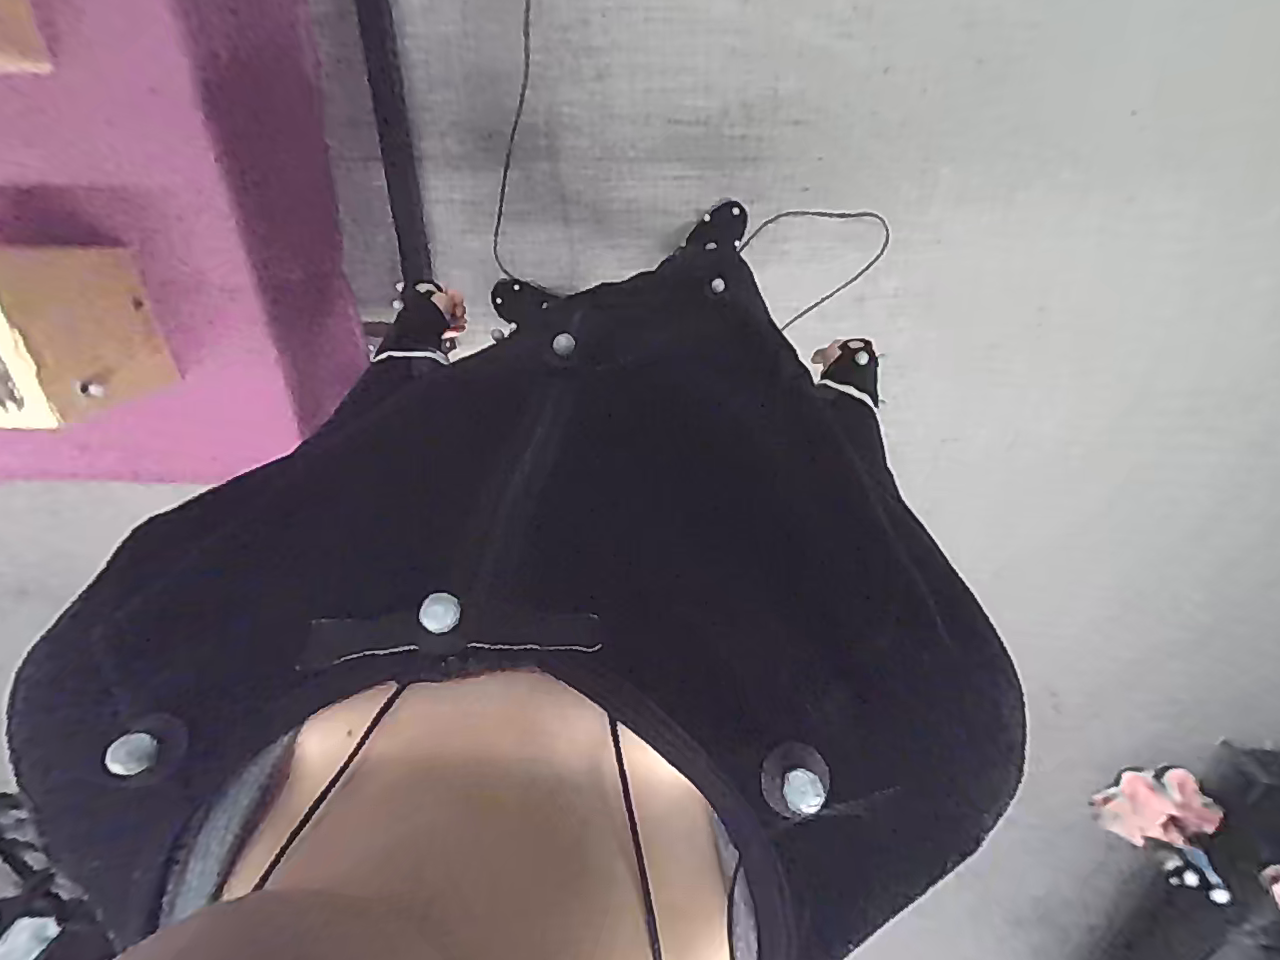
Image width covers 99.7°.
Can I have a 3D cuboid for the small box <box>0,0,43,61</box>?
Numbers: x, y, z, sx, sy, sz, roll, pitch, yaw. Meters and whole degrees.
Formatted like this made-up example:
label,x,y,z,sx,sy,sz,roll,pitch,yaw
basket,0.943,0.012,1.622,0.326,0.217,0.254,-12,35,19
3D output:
label,x,y,z,sx,sy,sz,roll,pitch,yaw
small box,-0.694,-0.480,0.459,0.168,0.176,0.179,2,117,1
